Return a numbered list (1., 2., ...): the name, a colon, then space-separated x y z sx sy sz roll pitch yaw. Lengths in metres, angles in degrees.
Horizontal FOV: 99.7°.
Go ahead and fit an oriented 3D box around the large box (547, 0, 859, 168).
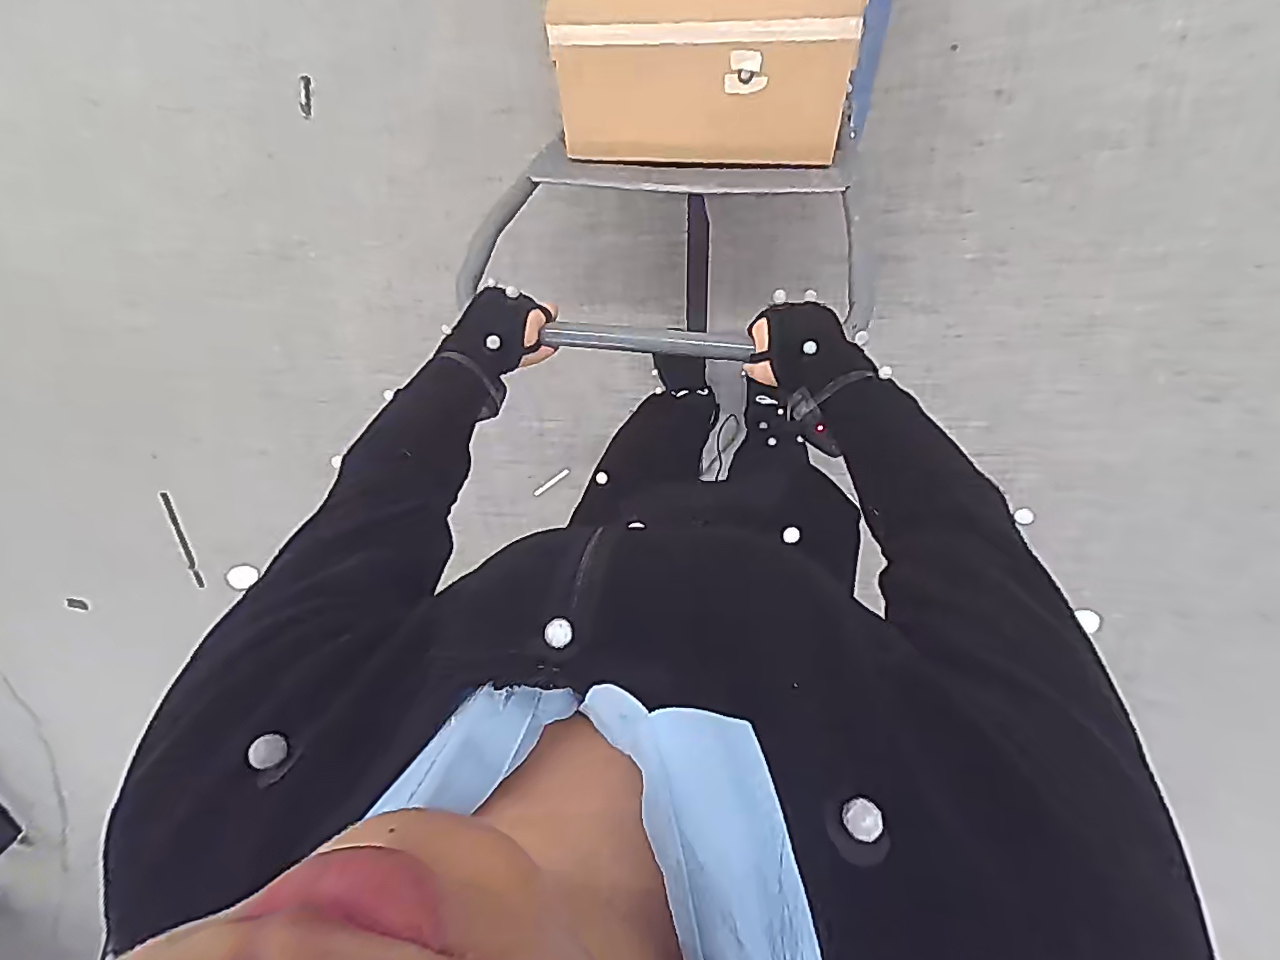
1. large box: 0.099 -0.685 0.812 0.408 0.320 0.320 6 137 9
